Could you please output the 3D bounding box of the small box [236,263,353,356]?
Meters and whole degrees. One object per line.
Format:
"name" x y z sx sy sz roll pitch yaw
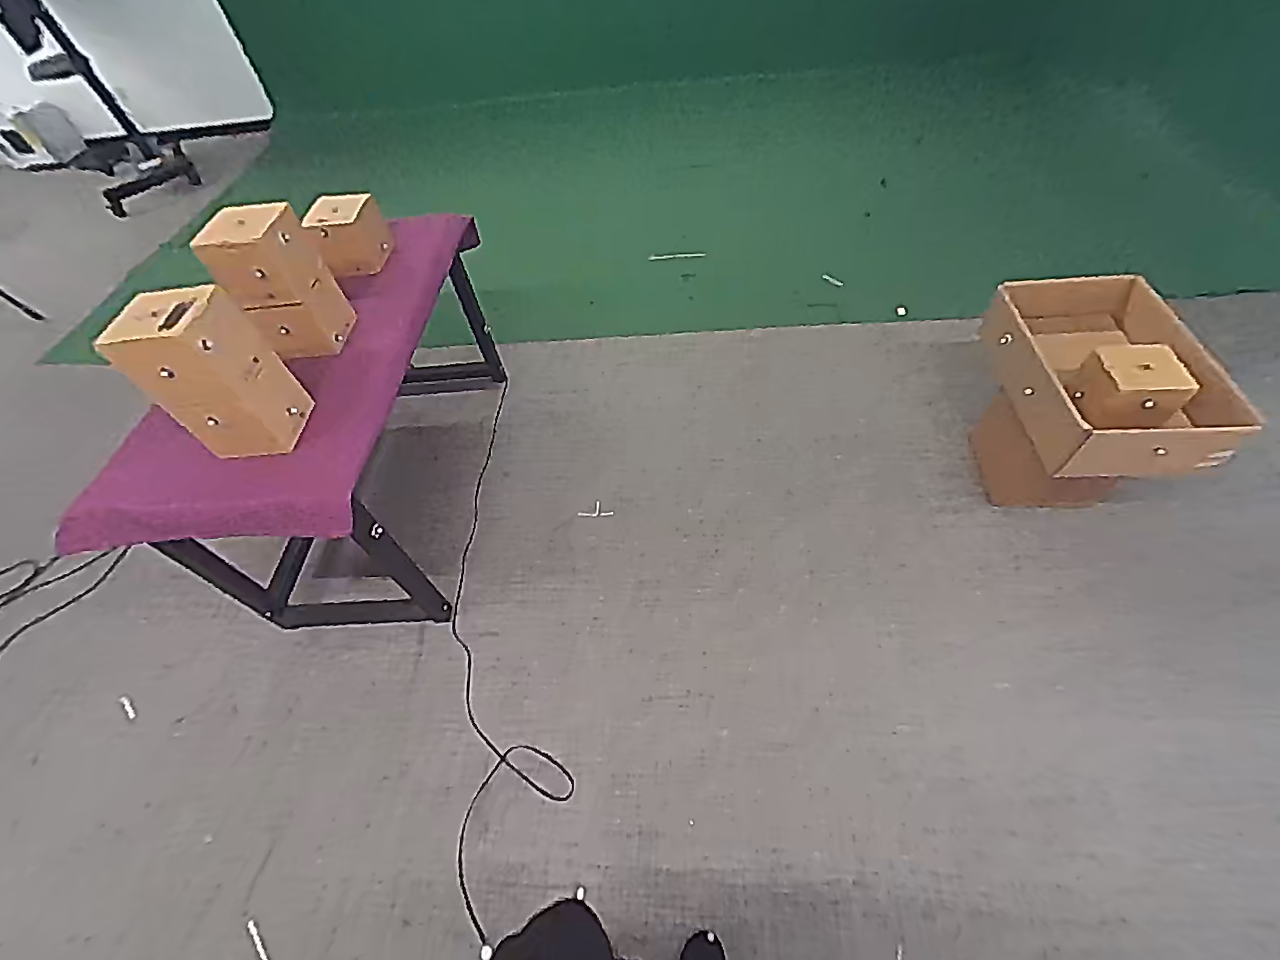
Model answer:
"small box" -0.900 -0.448 1.431 0.179 0.176 0.168 -4 53 4

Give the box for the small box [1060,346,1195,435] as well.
"small box" 1.271 -0.232 1.426 0.179 0.176 0.168 0 54 7

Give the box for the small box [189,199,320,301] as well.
"small box" -0.911 -0.546 1.301 0.168 0.176 0.179 -3 52 3

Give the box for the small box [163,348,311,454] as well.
"small box" -0.894 -0.173 1.220 0.179 0.176 0.168 -4 53 3

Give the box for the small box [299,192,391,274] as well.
"small box" -0.896 -0.760 1.666 0.168 0.176 0.179 -2 53 5
